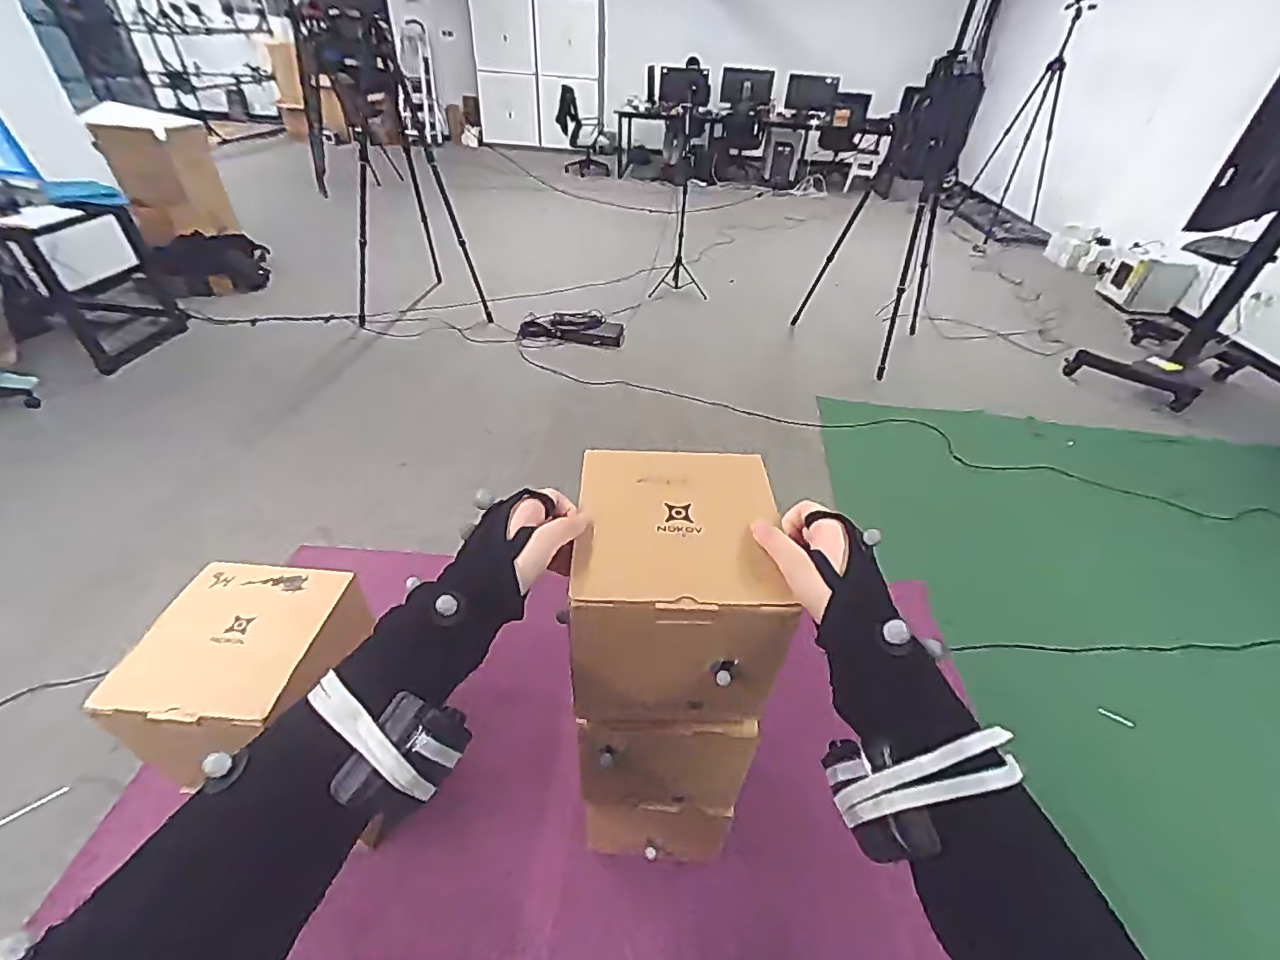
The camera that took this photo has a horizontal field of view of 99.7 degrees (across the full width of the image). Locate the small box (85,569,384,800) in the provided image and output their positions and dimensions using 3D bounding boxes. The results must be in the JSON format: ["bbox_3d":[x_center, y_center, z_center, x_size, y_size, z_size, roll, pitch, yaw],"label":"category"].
[{"bbox_3d":[-0.406,0.222,0.588,0.168,0.176,0.179,5,40,1],"label":"small box"}]

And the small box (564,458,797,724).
[{"bbox_3d":[0.028,0.099,0.486,0.168,0.176,0.179,2,40,-1],"label":"small box"}]

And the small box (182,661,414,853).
[{"bbox_3d":[-0.410,0.350,0.691,0.168,0.176,0.179,3,38,0],"label":"small box"}]

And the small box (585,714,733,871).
[{"bbox_3d":[0.024,0.367,0.697,0.168,0.176,0.179,5,40,3],"label":"small box"}]
